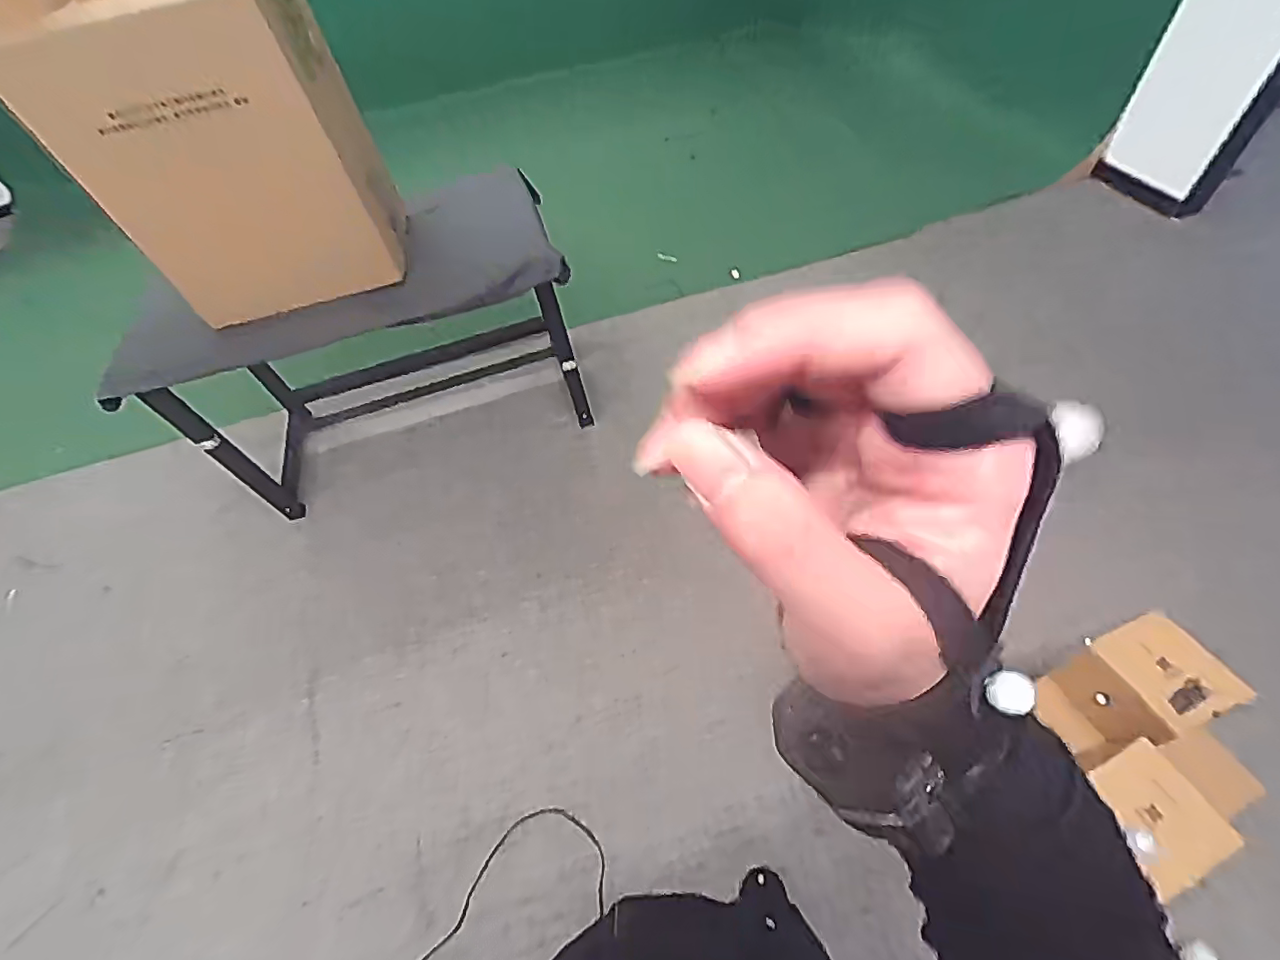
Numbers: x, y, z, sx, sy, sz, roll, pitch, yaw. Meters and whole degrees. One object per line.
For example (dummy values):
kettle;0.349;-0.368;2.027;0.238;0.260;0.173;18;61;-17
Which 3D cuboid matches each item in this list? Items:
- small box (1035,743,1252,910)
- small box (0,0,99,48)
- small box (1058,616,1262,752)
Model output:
small box;0.800;0.566;0.889;0.179;0.176;0.168;-24;57;-11
small box;-1.180;-0.939;0.997;0.179;0.176;0.168;-16;61;-2
small box;0.939;0.388;0.998;0.168;0.176;0.179;-22;50;-7
